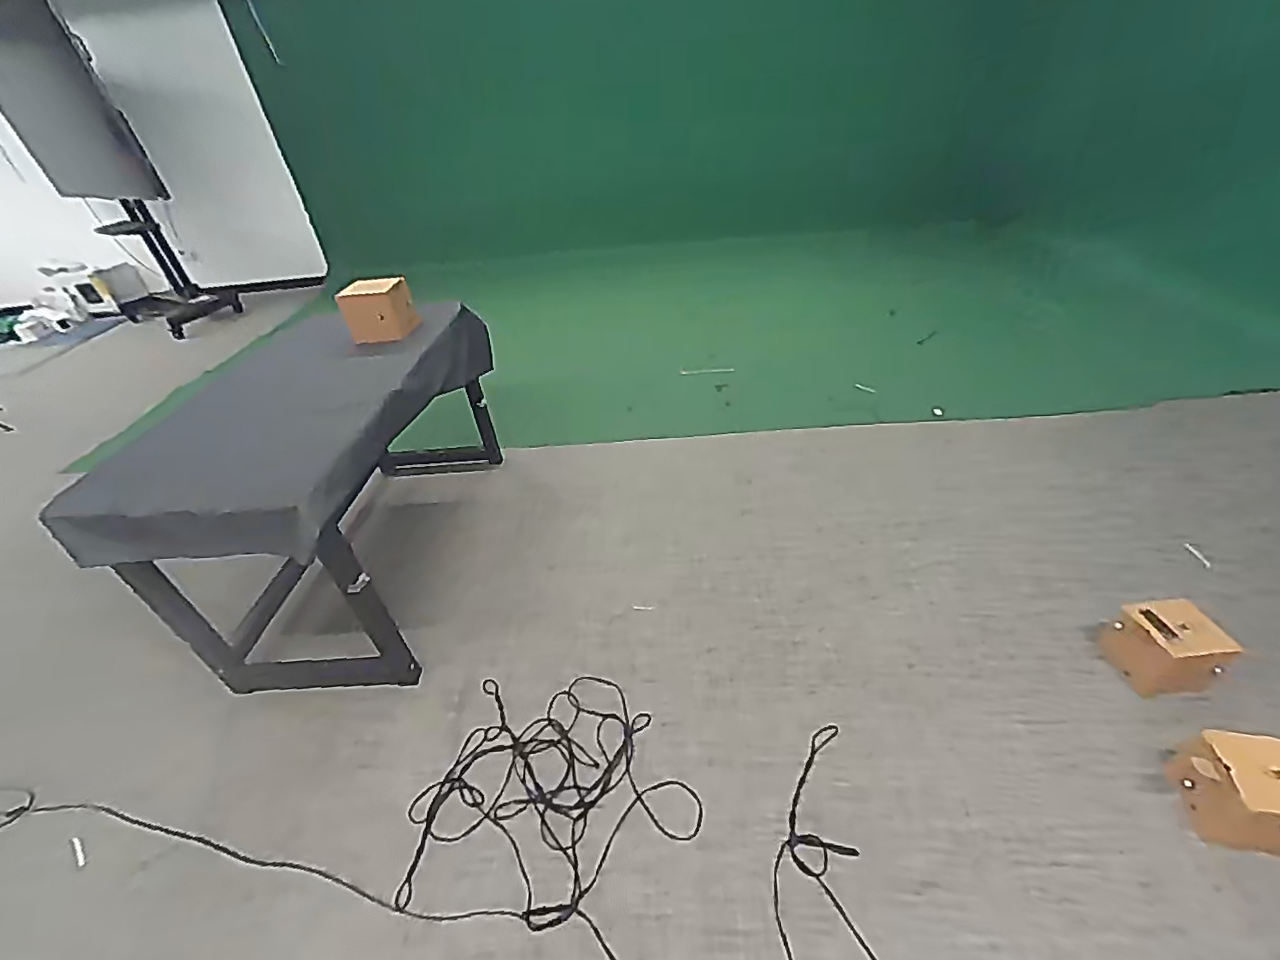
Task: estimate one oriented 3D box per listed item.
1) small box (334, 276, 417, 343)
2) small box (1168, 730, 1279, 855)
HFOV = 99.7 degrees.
[{"bbox_3d":[-0.896,-0.583,1.854,0.179,0.176,0.168,-4,36,6],"label":"small box"},{"bbox_3d":[1.274,0.651,1.122,0.179,0.176,0.168,3,39,13],"label":"small box"}]
